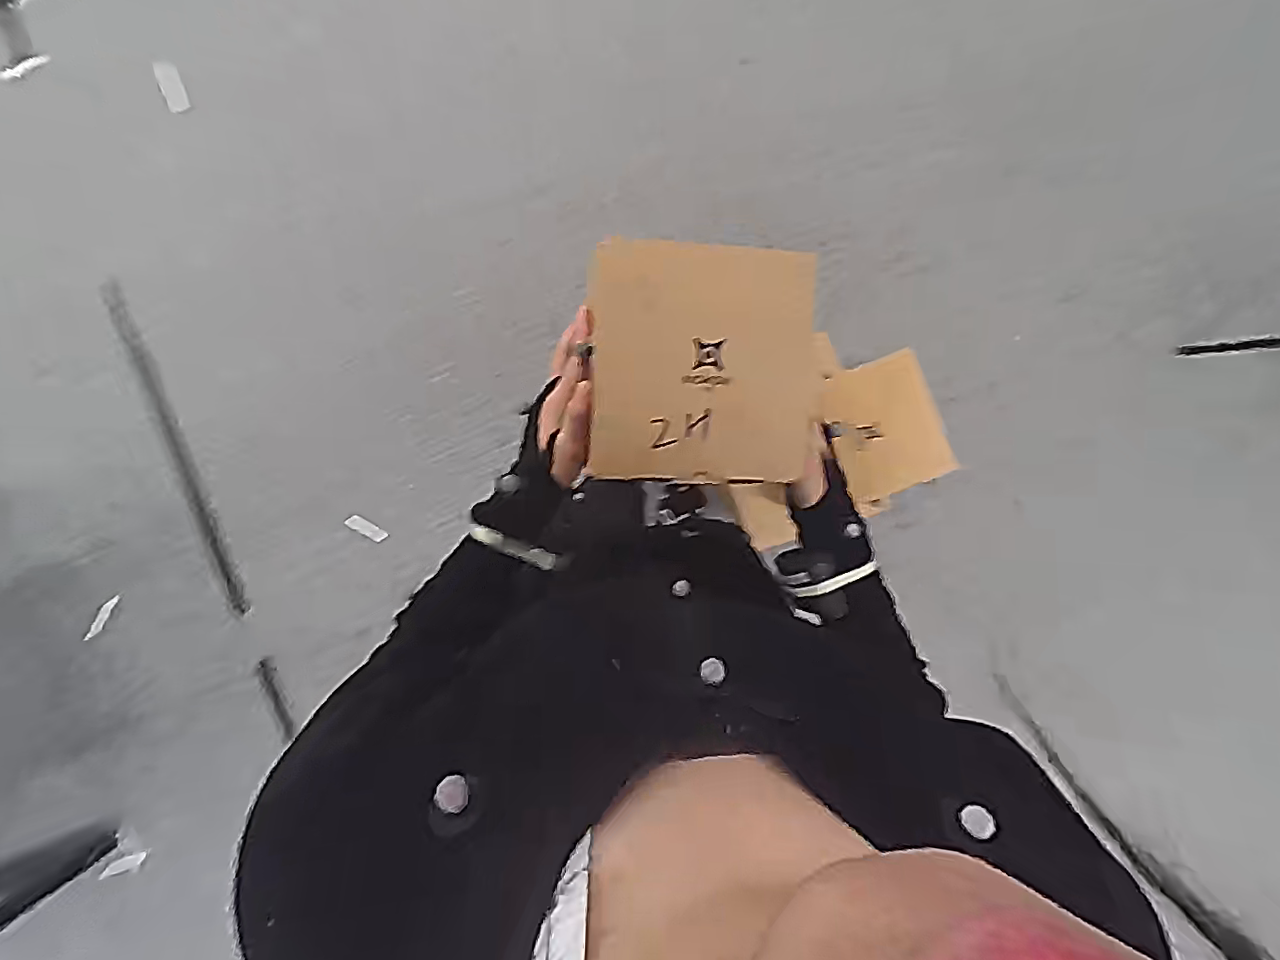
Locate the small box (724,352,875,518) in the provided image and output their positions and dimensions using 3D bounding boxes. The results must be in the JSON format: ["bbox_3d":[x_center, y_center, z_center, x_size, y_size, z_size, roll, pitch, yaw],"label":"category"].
[{"bbox_3d":[0.196,-0.064,0.789,0.179,0.176,0.168,-28,93,0],"label":"small box"}]

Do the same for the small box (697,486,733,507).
[{"bbox_3d":[0.176,-0.062,1.115,0.168,0.176,0.179,-29,93,-1],"label":"small box"}]
